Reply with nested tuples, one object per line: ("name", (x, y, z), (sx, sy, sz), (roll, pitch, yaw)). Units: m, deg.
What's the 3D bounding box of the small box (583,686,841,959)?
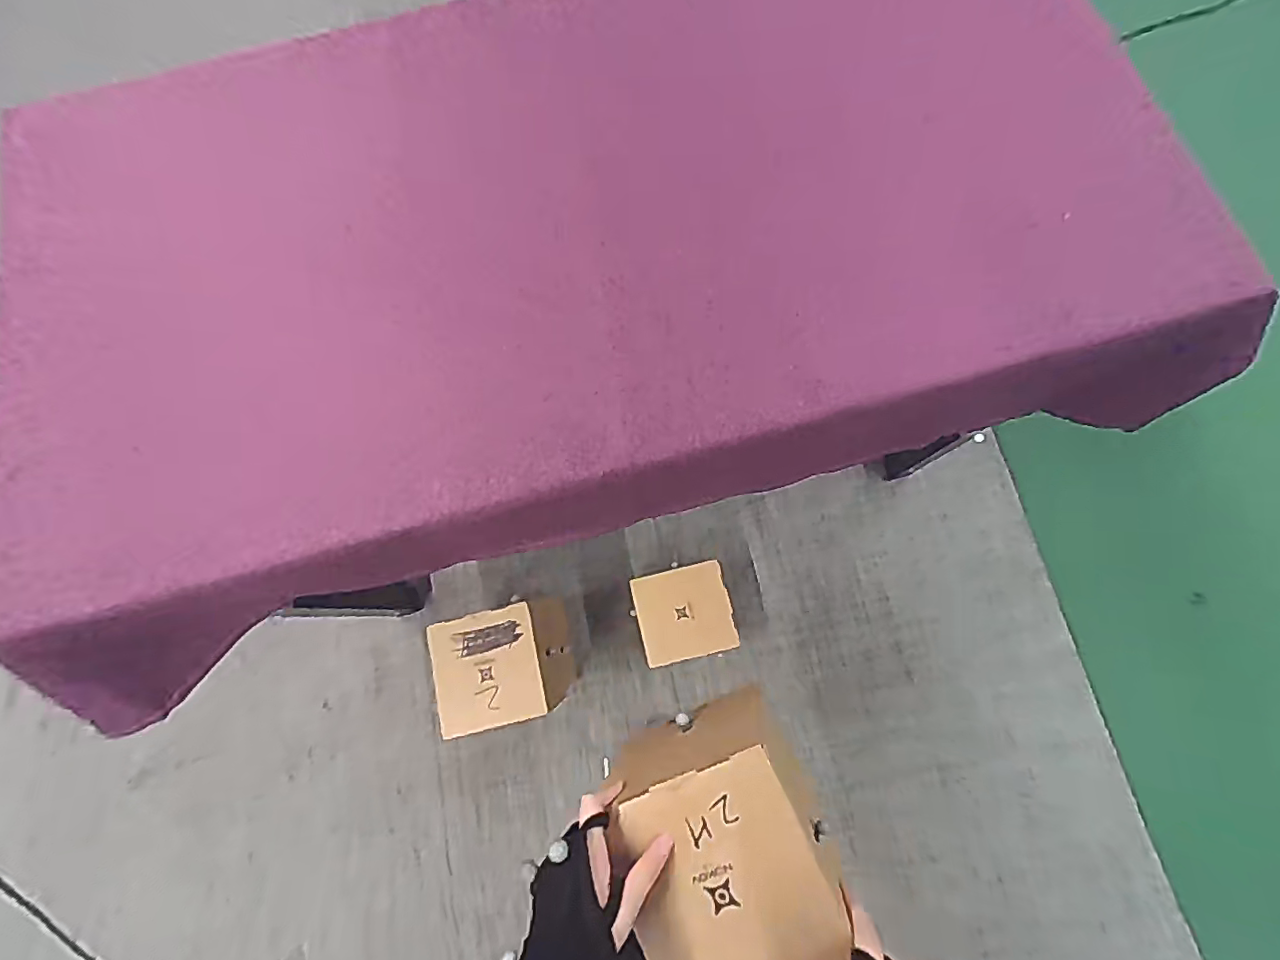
("small box", (0.072, 0.334, 0.529), (0.168, 0.176, 0.179), (-26, 82, 9))
